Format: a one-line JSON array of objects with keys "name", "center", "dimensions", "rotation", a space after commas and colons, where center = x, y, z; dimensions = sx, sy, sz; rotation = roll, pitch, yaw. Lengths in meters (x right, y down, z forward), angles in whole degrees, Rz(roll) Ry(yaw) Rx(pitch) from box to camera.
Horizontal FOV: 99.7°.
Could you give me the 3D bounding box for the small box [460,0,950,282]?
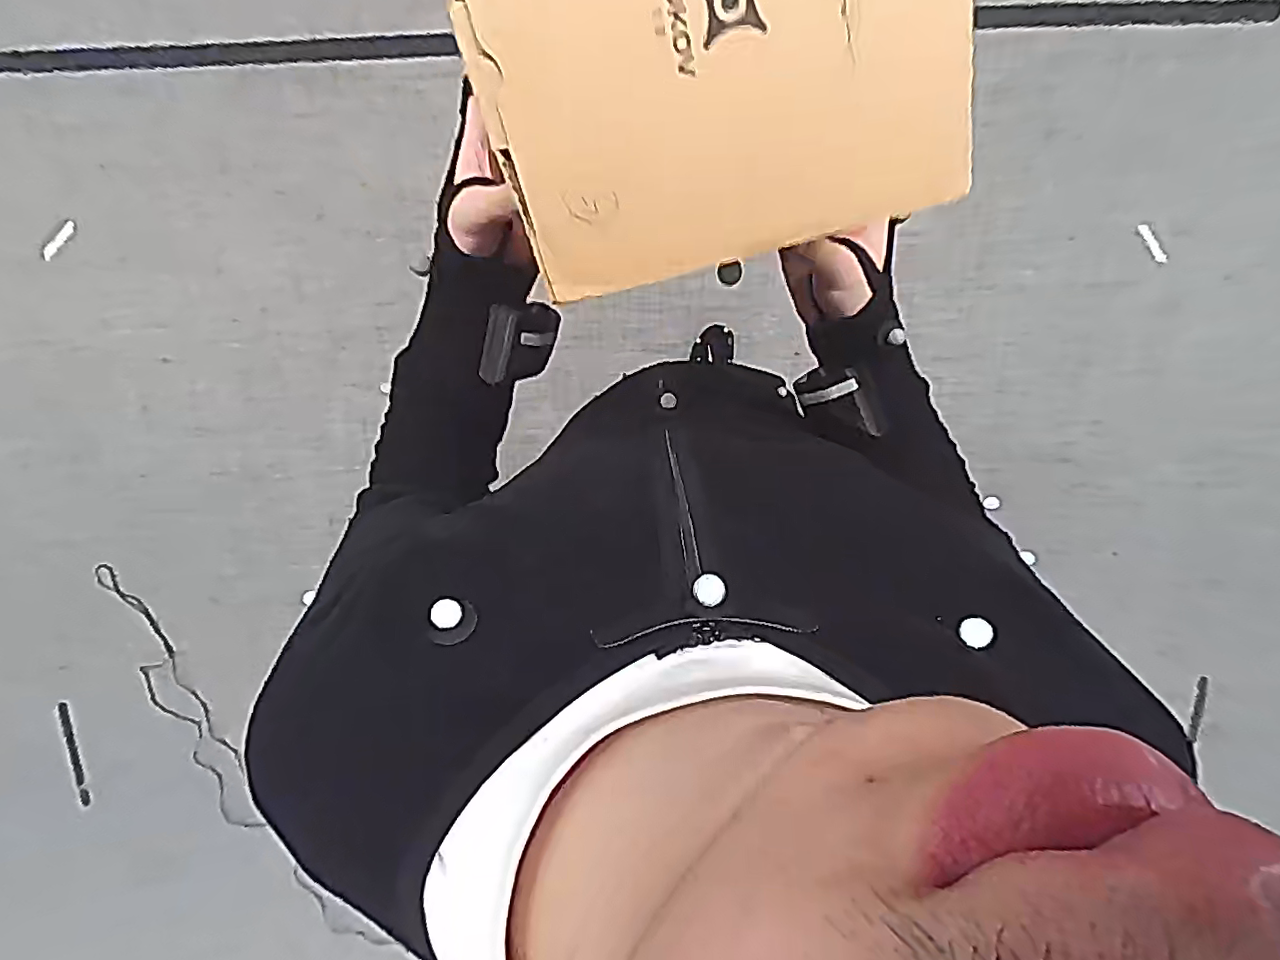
[{"name": "small box", "center": [0.022, -0.210, 0.269], "dimensions": [0.179, 0.176, 0.168], "rotation": [-15, 116, 4]}]
